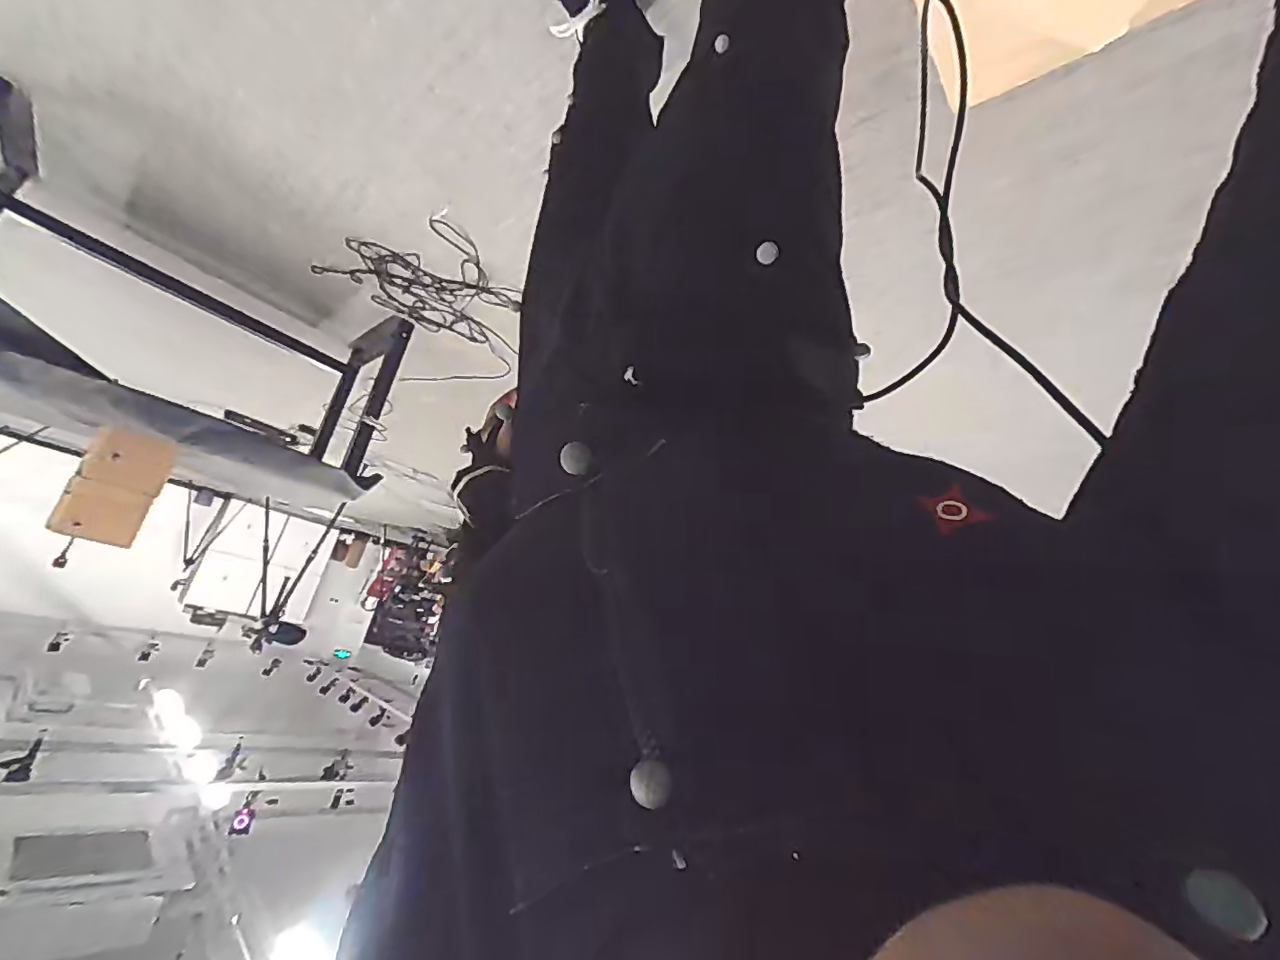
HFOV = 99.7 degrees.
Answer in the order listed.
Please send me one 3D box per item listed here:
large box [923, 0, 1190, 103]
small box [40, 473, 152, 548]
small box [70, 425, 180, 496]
[{"bbox_3d":[0.408,-0.686,0.486,0.320,0.320,0.408,-4,157,44],"label":"large box"},{"bbox_3d":[-1.599,0.090,1.596,0.168,0.176,0.179,2,159,36],"label":"small box"},{"bbox_3d":[-1.559,-0.061,1.641,0.168,0.176,0.179,2,160,36],"label":"small box"}]
